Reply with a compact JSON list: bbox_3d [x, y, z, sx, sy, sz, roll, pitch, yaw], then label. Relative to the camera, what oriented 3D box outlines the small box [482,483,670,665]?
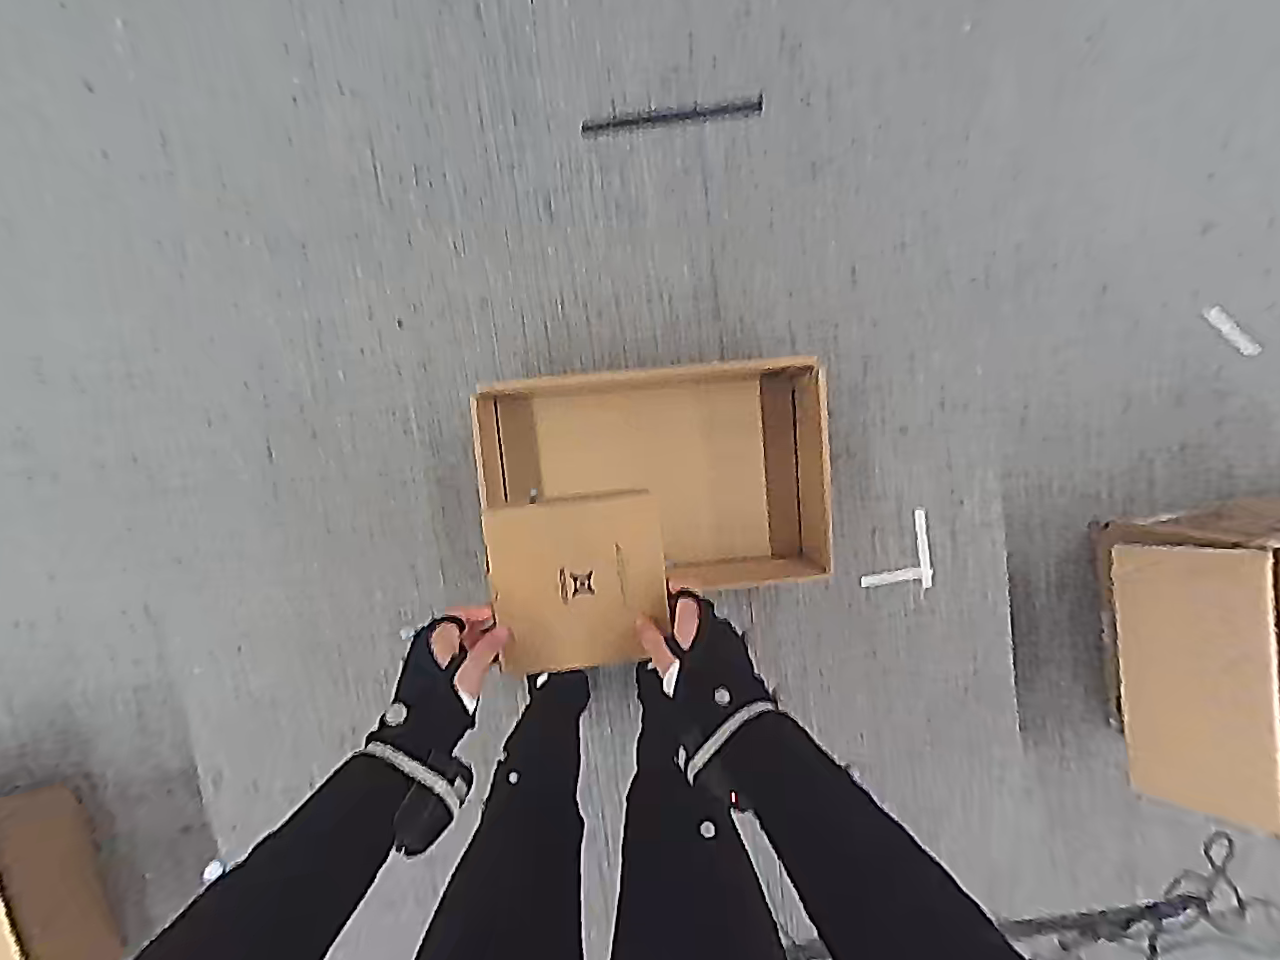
[{"bbox_3d":[-0.068,0.094,0.624,0.179,0.176,0.168,-7,92,-4],"label":"small box"}]
